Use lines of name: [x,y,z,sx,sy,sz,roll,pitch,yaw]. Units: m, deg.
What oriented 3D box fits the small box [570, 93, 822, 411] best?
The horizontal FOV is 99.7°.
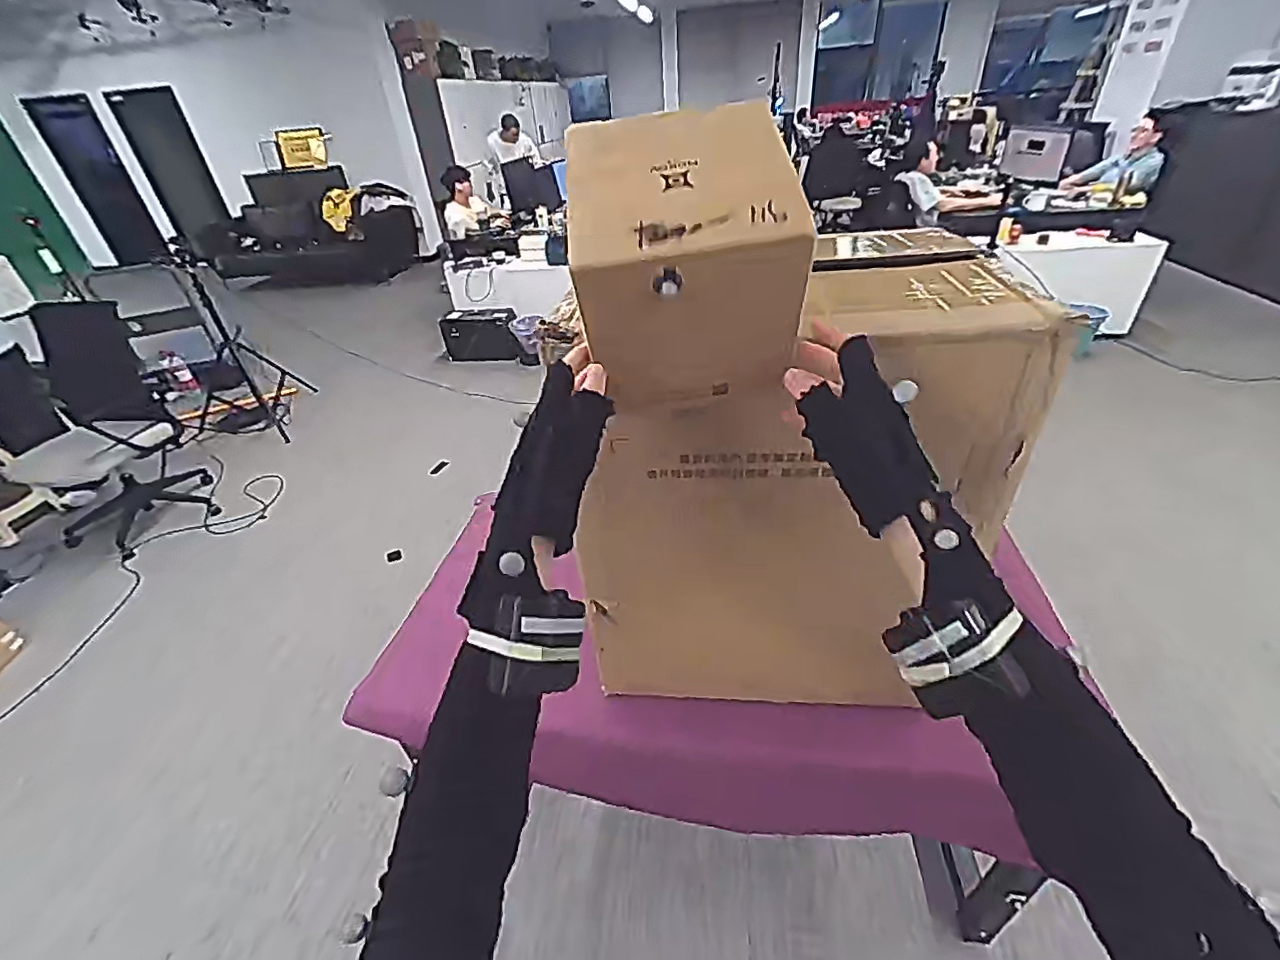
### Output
small box: [0.038,-0.183,0.459,0.168,0.176,0.179,-8,61,3]
